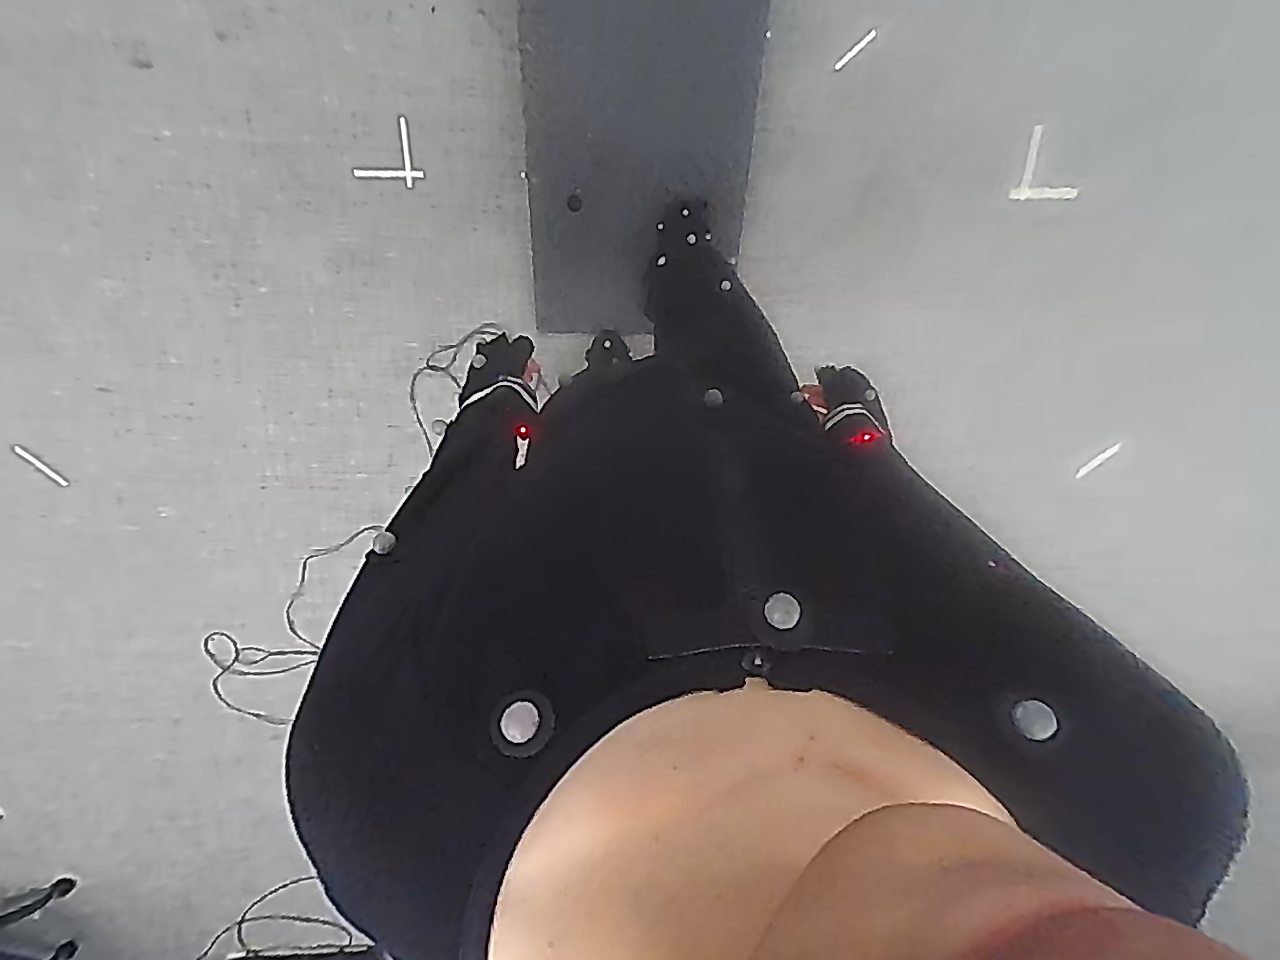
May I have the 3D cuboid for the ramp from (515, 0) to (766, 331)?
[{"bbox_3d":[0.000,-0.807,1.117,0.509,0.206,0.991,-2,111,-4],"label":"ramp"}]
